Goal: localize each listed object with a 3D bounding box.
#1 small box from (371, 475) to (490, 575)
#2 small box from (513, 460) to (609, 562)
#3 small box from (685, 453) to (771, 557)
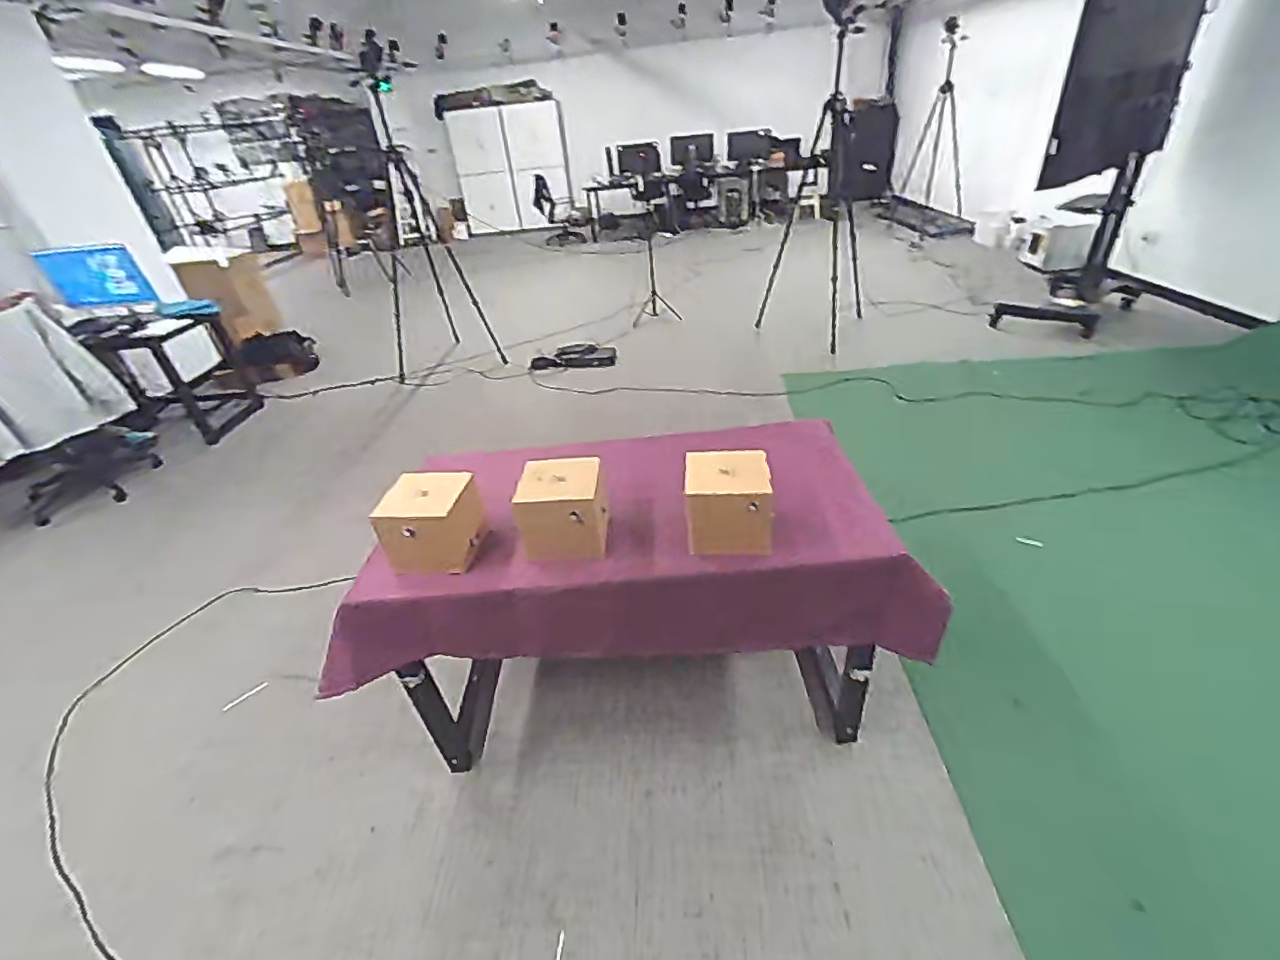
[{"bbox_3d":[-0.469,0.103,1.237,0.179,0.176,0.168,0,34,8],"label":"small box"},{"bbox_3d":[-0.170,0.072,1.230,0.179,0.176,0.168,-4,33,5],"label":"small box"},{"bbox_3d":[0.194,0.056,1.195,0.179,0.176,0.168,-1,34,8],"label":"small box"}]
